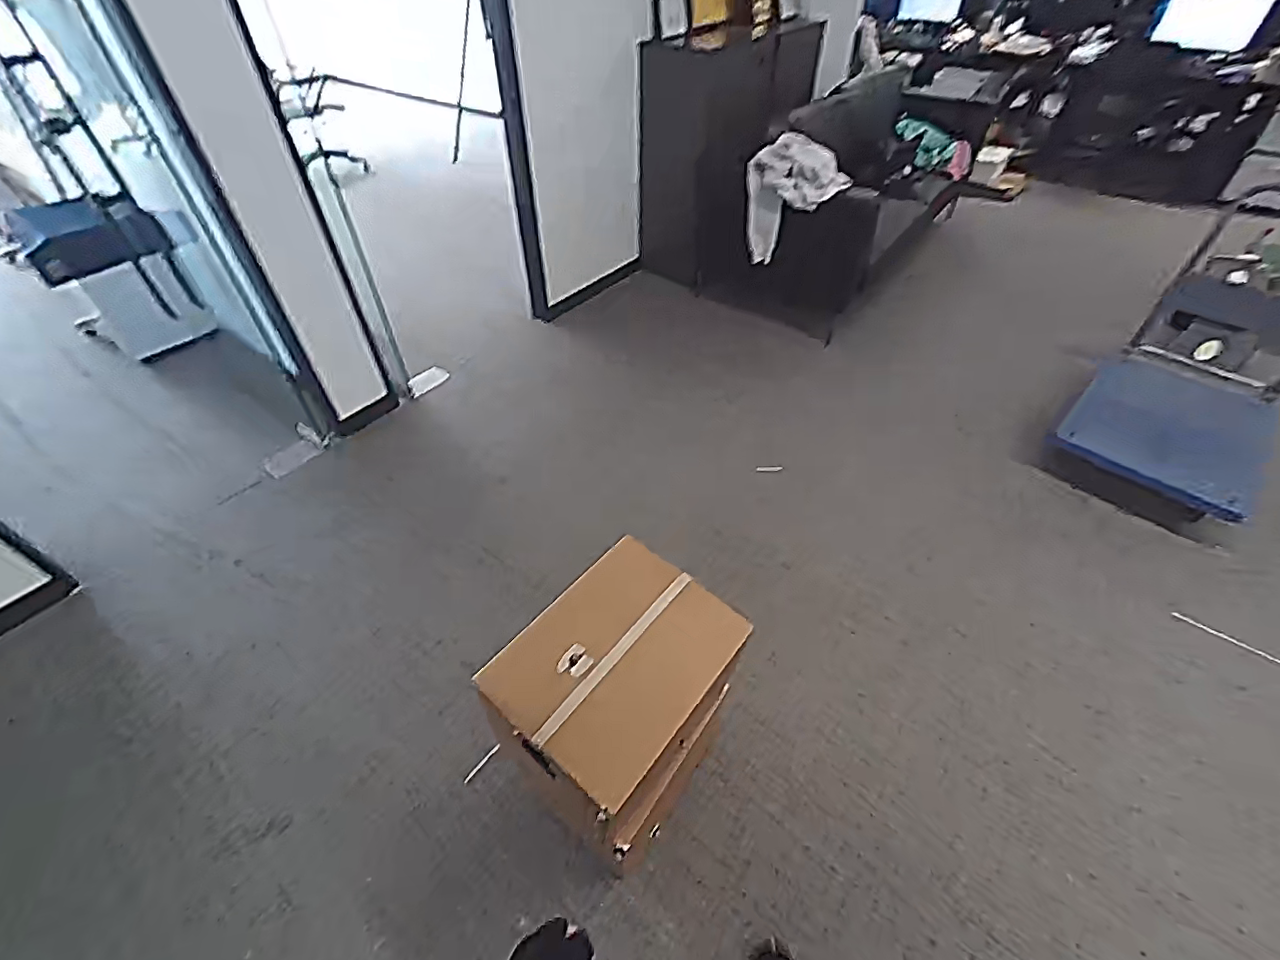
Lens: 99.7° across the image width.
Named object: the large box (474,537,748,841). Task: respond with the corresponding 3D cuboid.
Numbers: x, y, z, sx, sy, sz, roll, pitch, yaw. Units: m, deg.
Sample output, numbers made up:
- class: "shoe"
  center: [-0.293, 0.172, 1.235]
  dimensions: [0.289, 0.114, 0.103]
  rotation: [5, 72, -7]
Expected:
- class: "large box"
  center: [-0.049, 0.397, 1.058]
  dimensions: [0.320, 0.320, 0.408]
  rotation: [34, 55, 23]
